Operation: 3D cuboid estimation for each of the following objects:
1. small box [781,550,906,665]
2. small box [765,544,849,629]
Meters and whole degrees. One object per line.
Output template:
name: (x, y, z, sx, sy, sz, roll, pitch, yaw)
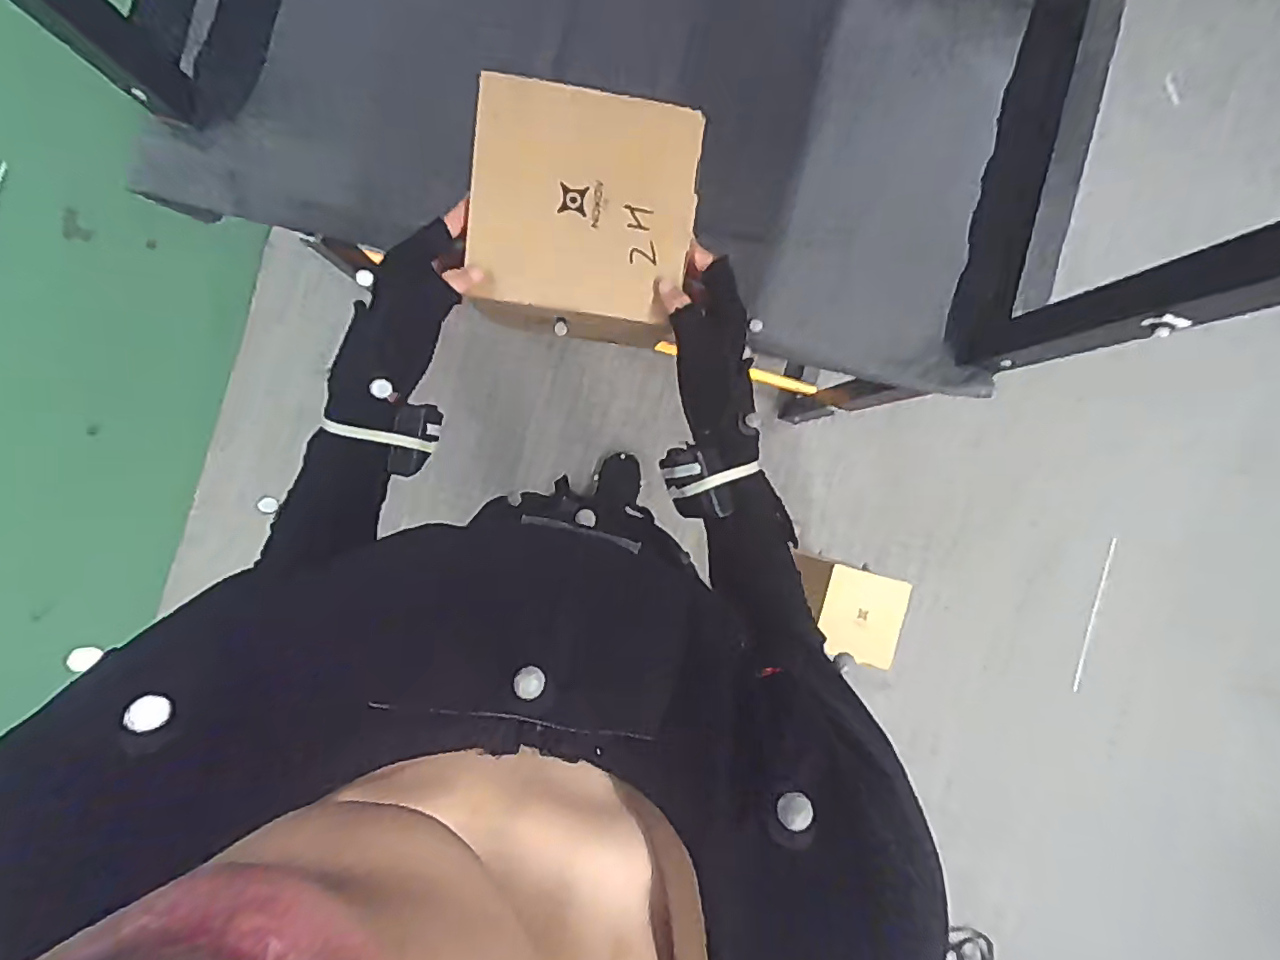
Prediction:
small box: (0.412, 0.255, 1.124, 0.168, 0.176, 0.179, 15, 90, -4)
small box: (0.410, 0.261, 1.287, 0.168, 0.176, 0.179, 13, 89, -5)
